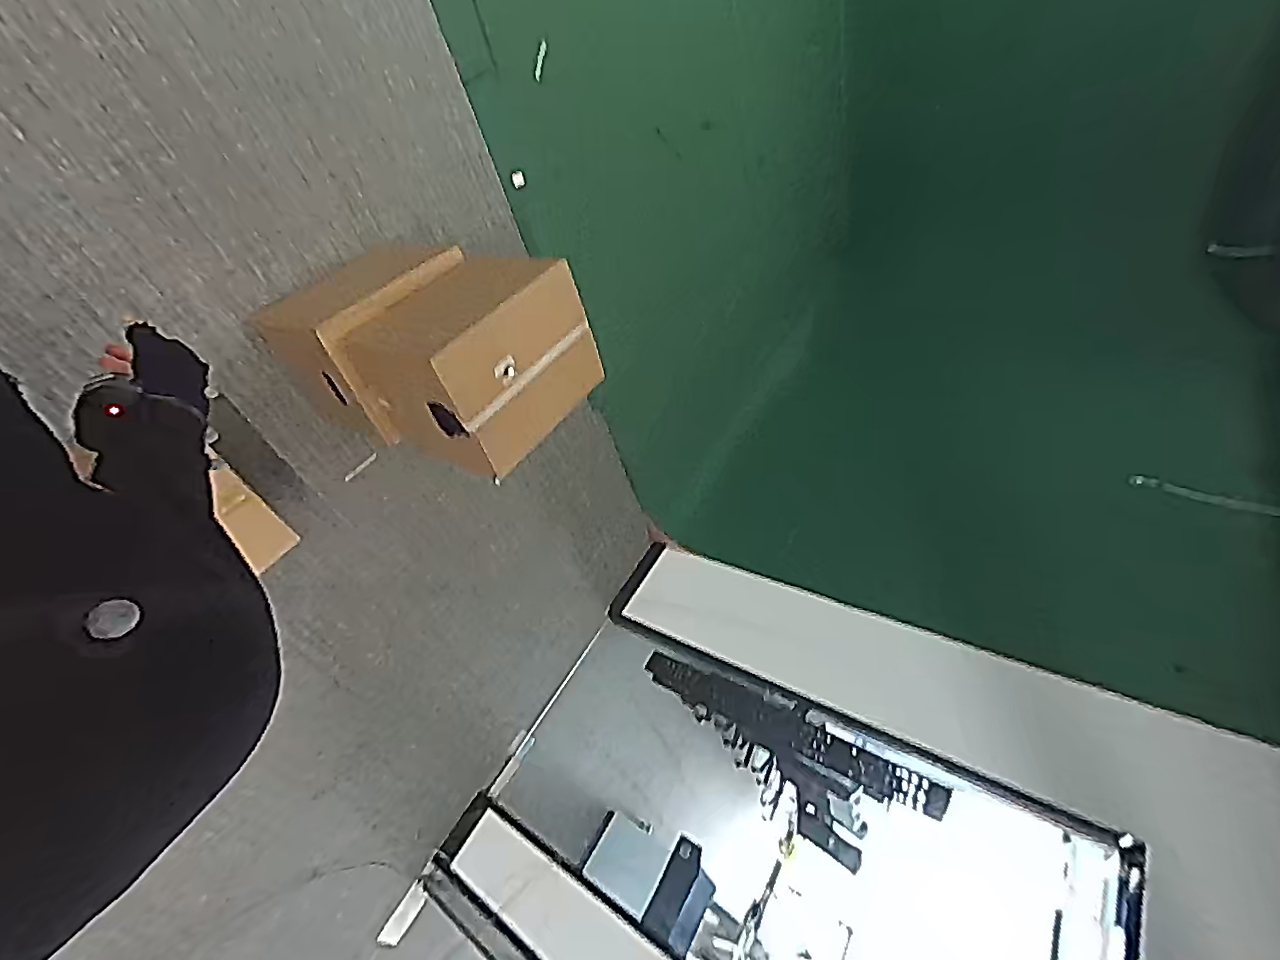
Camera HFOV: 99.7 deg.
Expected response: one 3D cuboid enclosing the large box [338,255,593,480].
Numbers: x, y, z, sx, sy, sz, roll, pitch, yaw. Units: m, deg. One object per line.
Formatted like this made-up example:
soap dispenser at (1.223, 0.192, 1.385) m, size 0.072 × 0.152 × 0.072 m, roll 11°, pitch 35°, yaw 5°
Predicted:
large box at (-0.374, -0.276, 1.246) m, size 0.408 × 0.320 × 0.320 m, roll -51°, pitch 143°, yaw -31°
